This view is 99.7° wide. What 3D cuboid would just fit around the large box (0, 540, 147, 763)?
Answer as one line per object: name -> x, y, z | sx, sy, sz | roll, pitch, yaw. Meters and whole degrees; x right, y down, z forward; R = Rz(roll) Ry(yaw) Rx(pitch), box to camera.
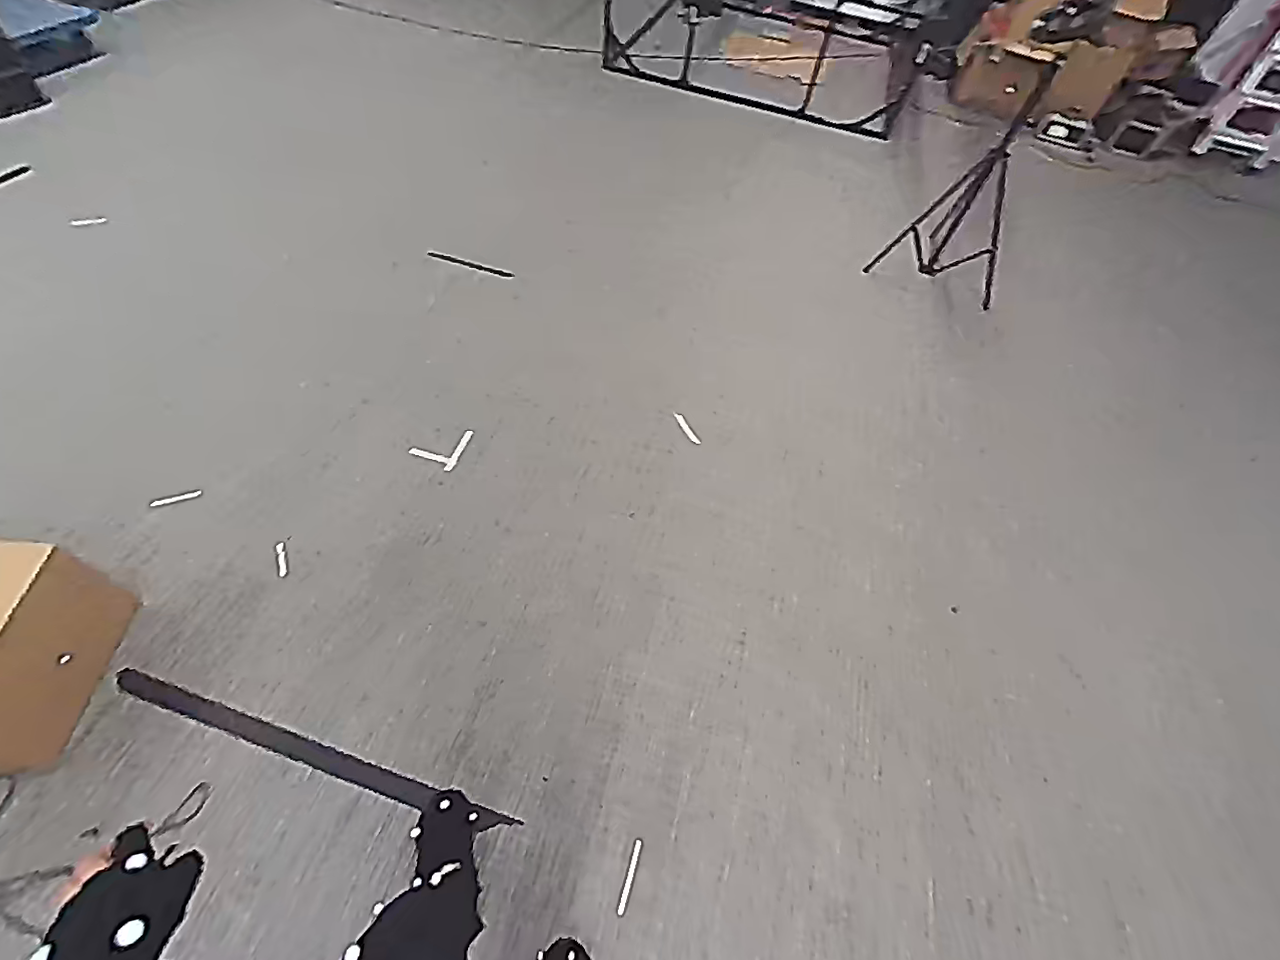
large box -> -1.408, 0.374, 1.174 | 0.320, 0.320, 0.408 | 2, 55, -8
